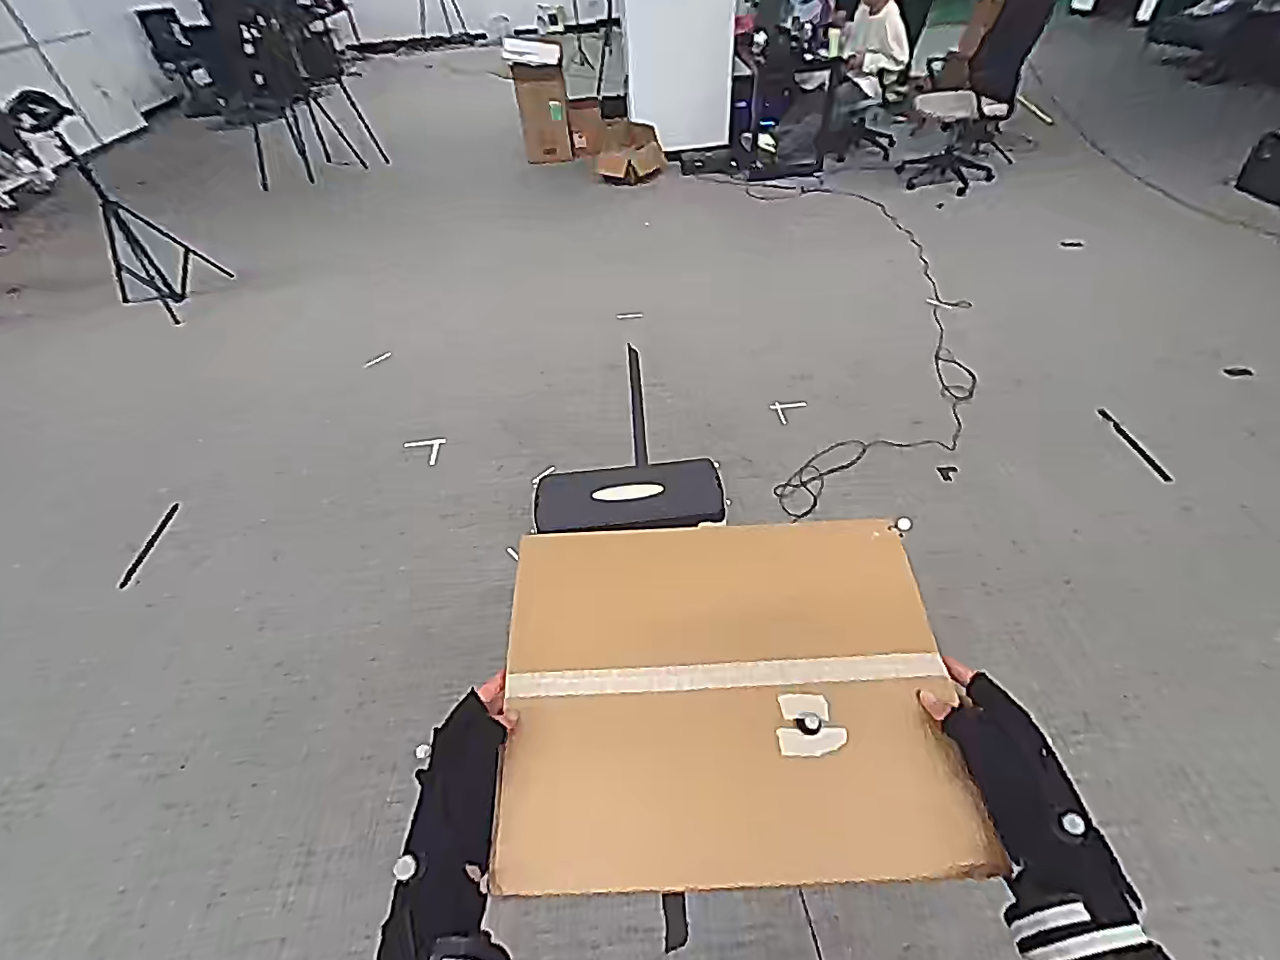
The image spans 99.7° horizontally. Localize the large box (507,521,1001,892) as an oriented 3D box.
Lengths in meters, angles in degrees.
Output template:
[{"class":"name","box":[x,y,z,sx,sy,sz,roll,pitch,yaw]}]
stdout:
[{"class":"large box","box":[0.085,0.265,0.631,0.408,0.320,0.320,-2,57,0]}]
